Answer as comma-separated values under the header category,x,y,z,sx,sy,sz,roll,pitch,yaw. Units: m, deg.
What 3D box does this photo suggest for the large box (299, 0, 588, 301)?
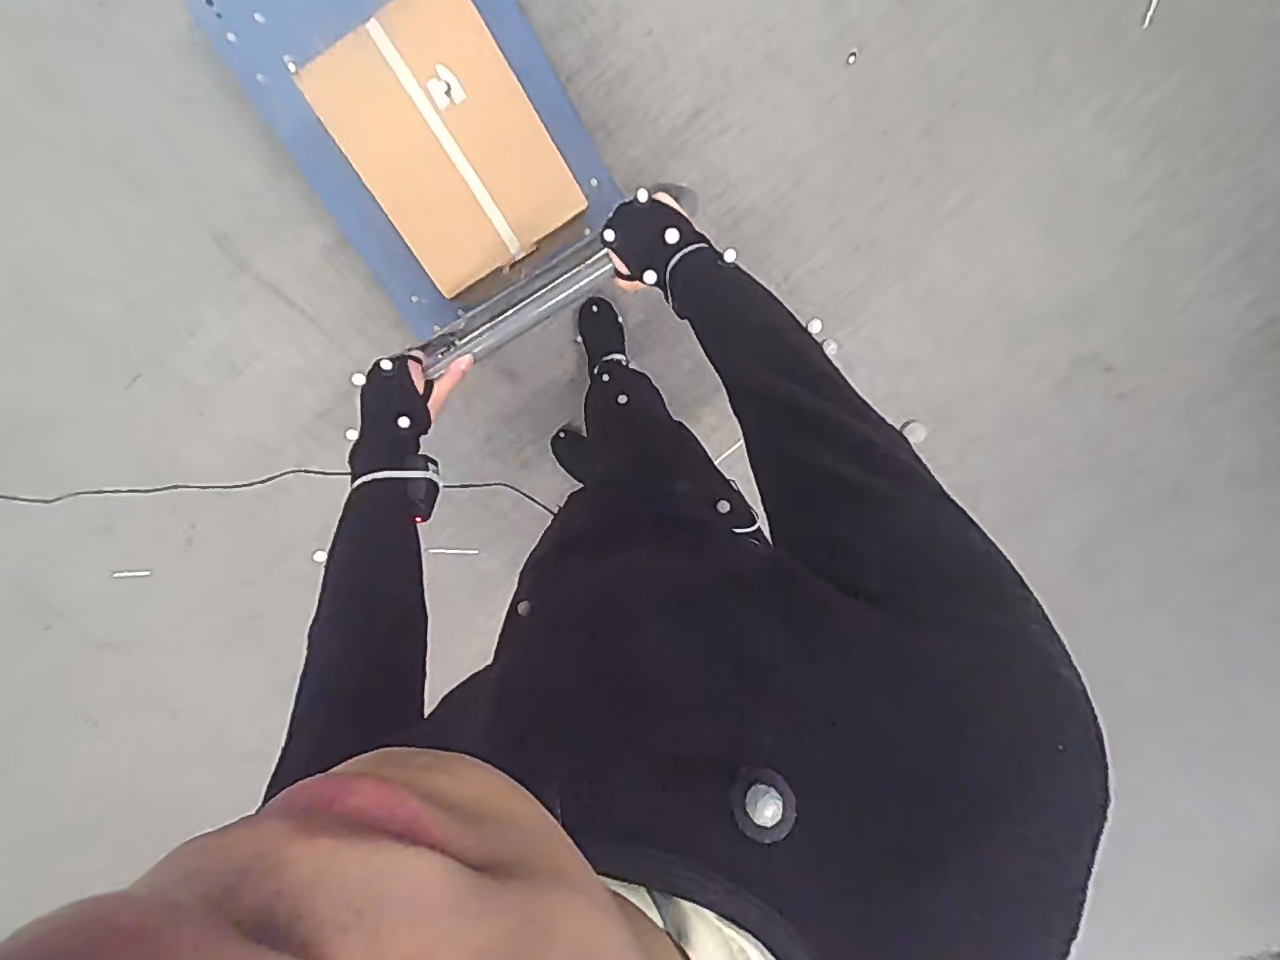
category,x,y,z,sx,sy,sz,roll,pitch,yaw
large box,-0.336,-0.614,1.063,0.320,0.320,0.408,-32,106,3
